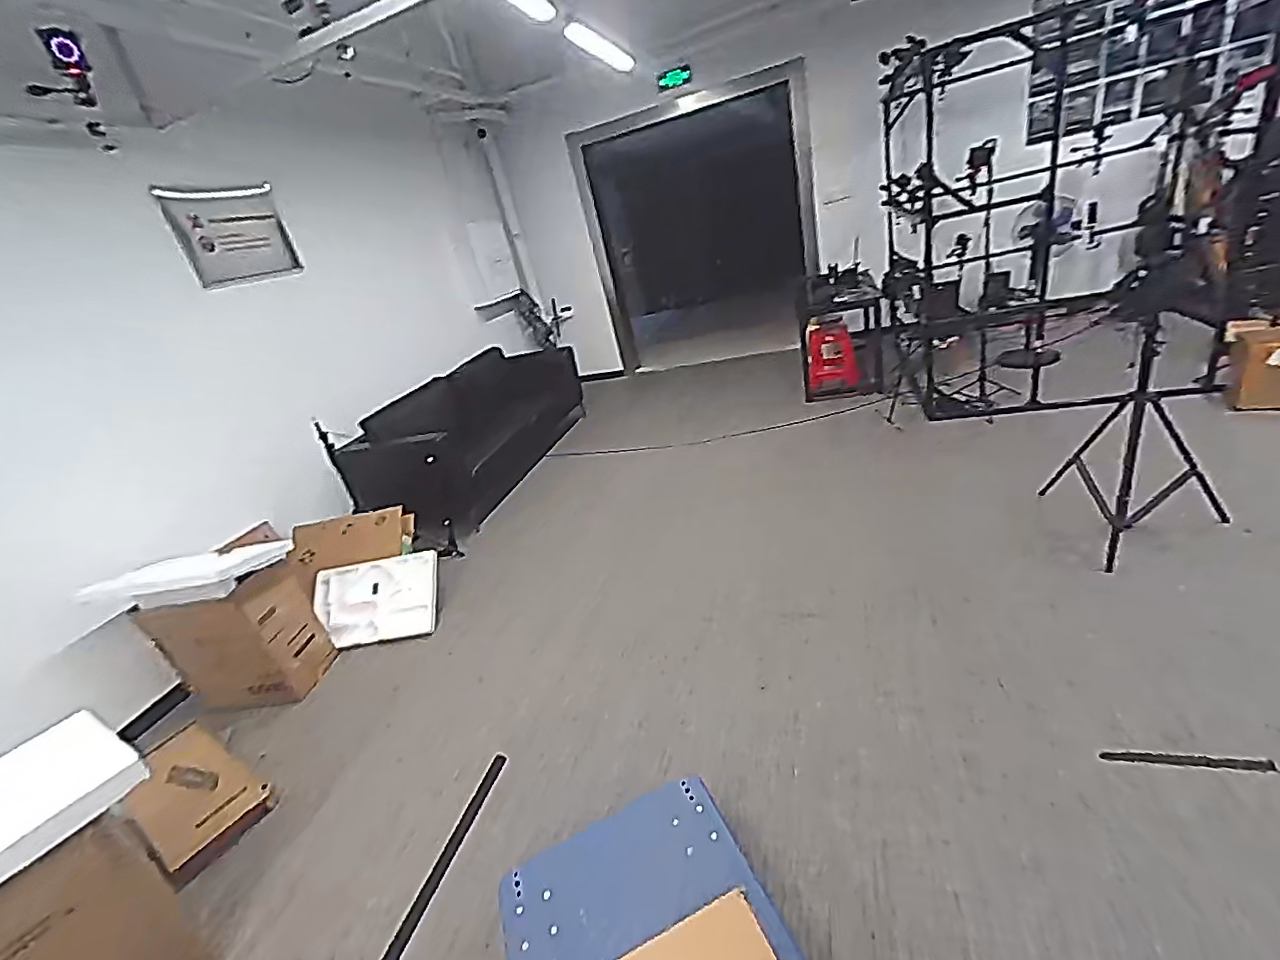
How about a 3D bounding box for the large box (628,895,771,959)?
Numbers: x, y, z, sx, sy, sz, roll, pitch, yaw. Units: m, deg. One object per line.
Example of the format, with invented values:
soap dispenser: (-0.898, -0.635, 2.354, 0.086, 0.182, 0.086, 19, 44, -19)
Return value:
large box: (0.077, 0.983, 0.836, 0.408, 0.320, 0.320, -20, 25, -15)
